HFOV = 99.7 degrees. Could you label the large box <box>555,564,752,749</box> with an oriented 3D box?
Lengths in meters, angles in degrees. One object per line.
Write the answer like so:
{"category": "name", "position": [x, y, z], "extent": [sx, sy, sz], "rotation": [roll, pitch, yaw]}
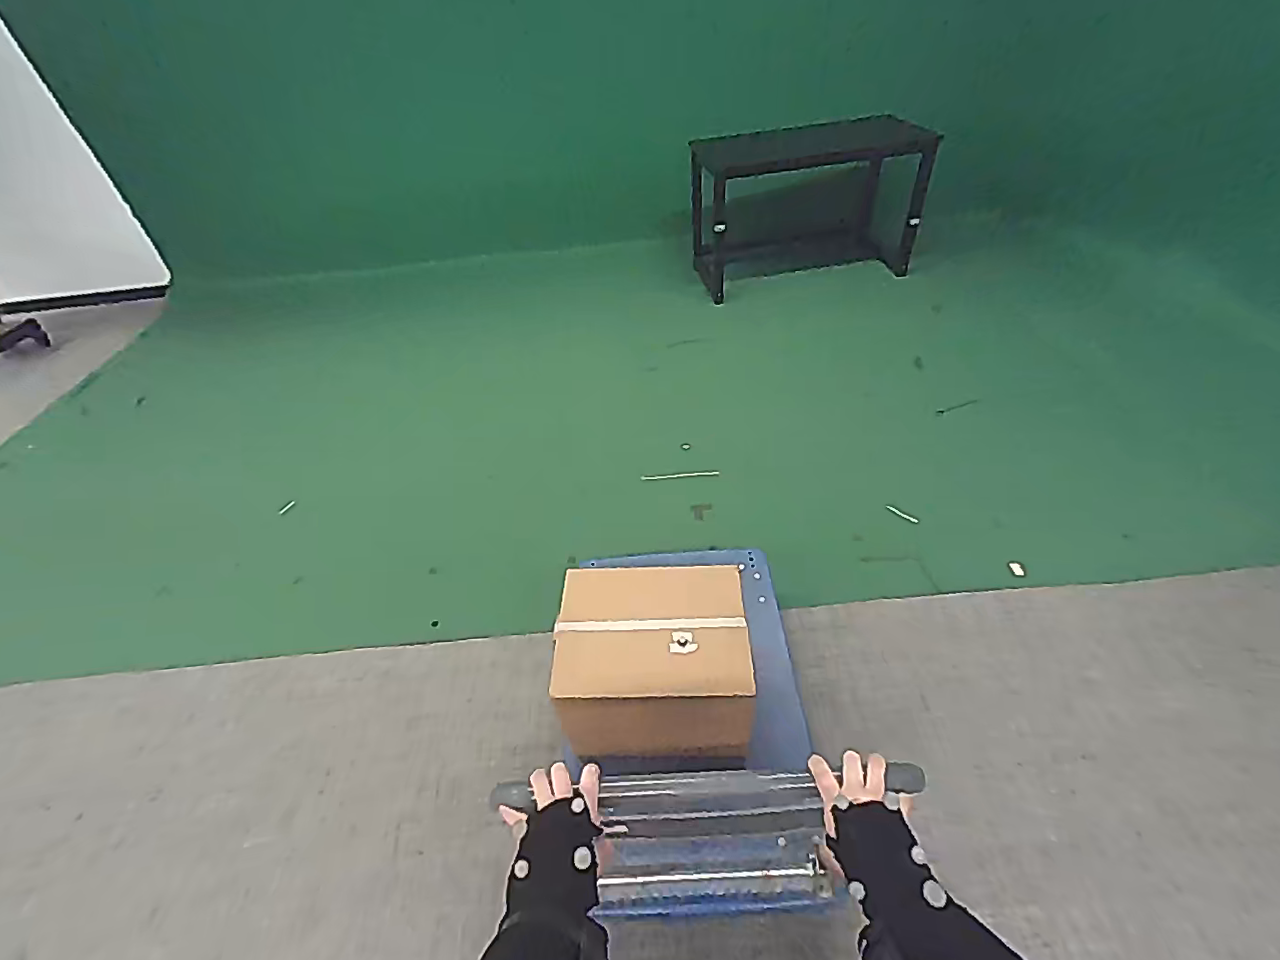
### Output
{"category": "large box", "position": [0.033, 0.420, 1.280], "extent": [0.408, 0.320, 0.320], "rotation": [-2, 44, 3]}
